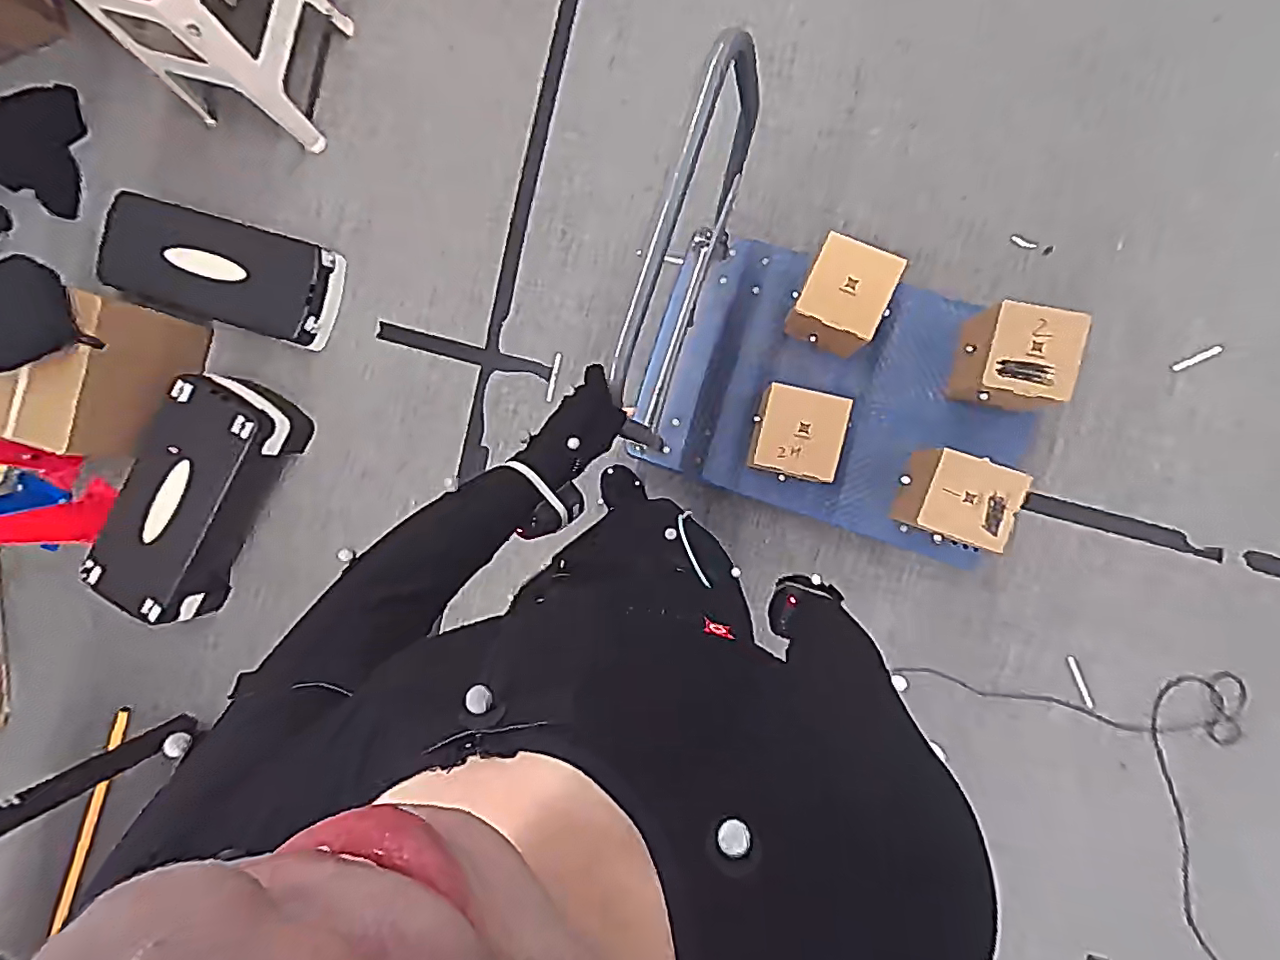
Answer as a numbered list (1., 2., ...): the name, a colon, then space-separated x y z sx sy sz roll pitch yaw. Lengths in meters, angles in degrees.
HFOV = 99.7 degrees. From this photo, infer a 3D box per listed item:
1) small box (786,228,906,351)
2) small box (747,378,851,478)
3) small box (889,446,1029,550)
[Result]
1. small box: 0.431 -0.401 1.168 0.168 0.176 0.179 24 95 4
2. small box: 0.338 -0.108 1.184 0.168 0.176 0.179 14 93 6
3. small box: 0.668 0.031 1.154 0.179 0.176 0.168 20 93 6
